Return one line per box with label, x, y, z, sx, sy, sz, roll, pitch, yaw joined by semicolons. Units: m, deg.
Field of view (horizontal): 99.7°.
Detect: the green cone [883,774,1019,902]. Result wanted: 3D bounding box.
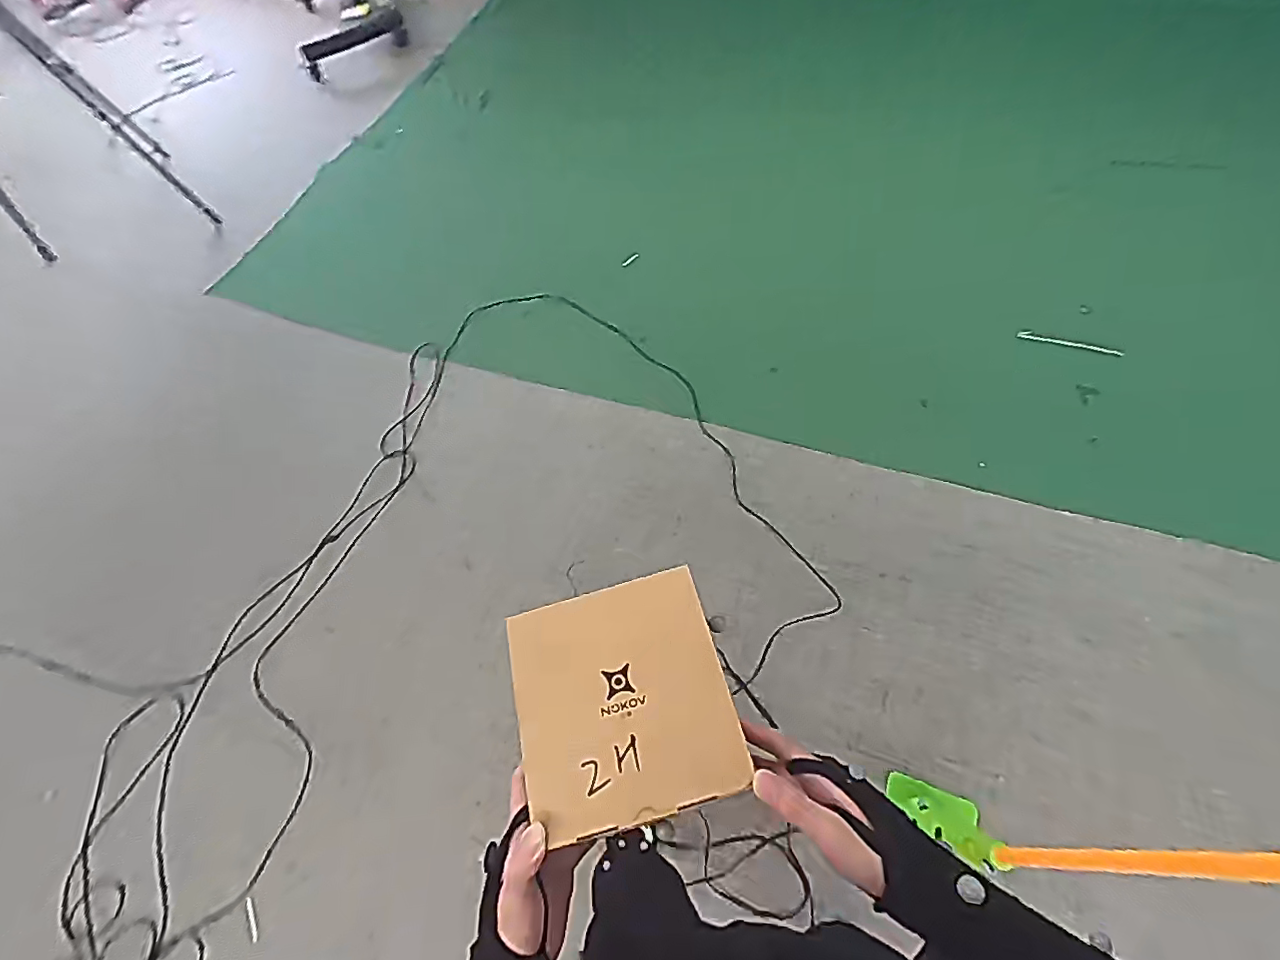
green cone;0.647;0.718;1.070;0.202;0.368;0.200;16;64;15
